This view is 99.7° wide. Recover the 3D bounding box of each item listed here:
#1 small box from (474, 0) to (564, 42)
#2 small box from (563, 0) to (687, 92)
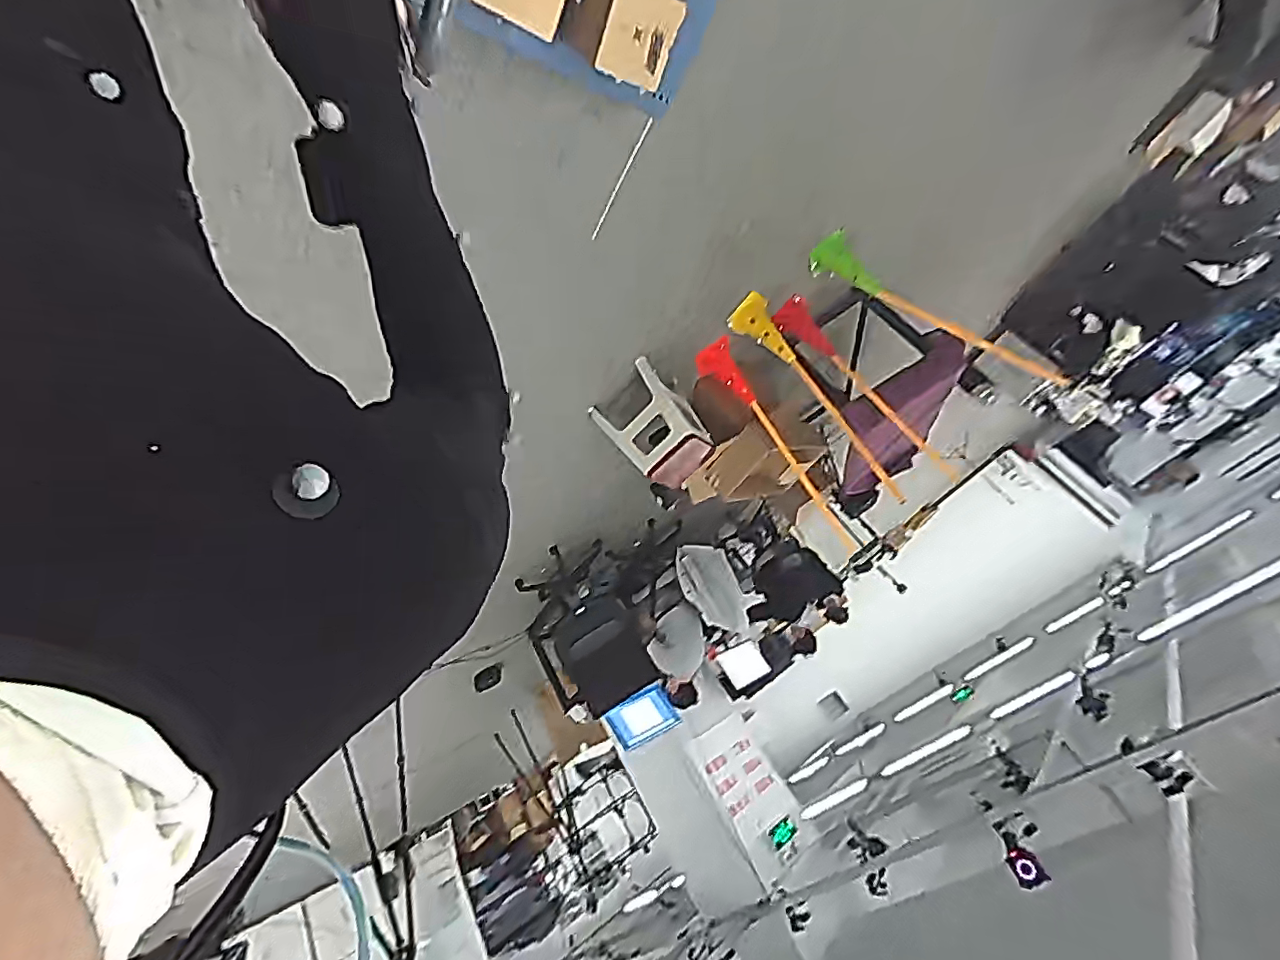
[{"bbox_3d":[-0.240,-0.960,0.985,0.179,0.176,0.168,-6,141,-42],"label":"small box"},{"bbox_3d":[-0.038,-0.985,1.164,0.179,0.176,0.168,-10,143,-38],"label":"small box"}]
